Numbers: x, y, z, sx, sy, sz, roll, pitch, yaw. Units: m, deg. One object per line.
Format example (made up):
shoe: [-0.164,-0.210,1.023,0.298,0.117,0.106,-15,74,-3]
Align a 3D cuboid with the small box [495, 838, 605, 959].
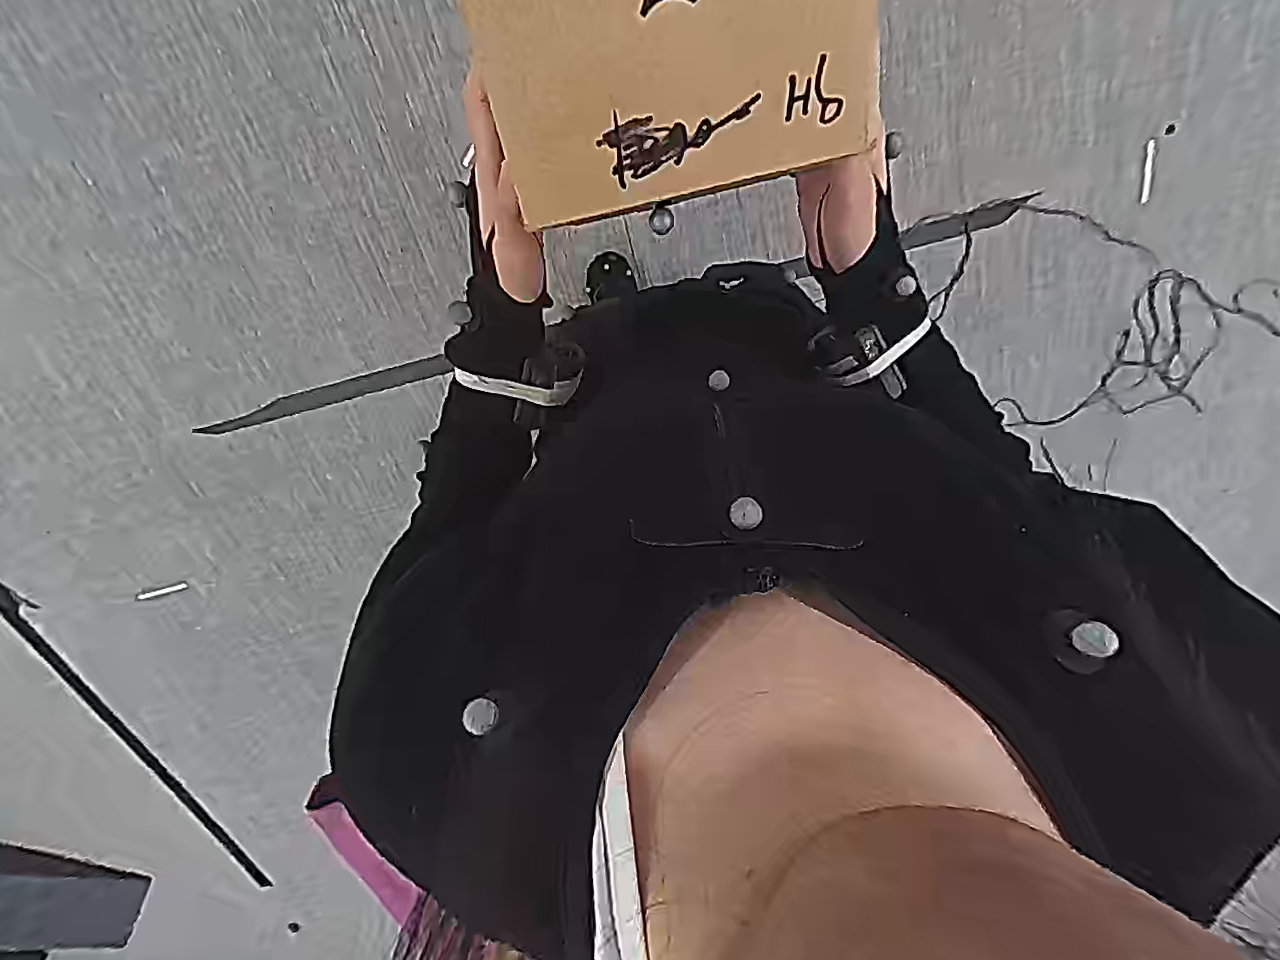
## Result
small box: [-0.158,0.819,1.018,0.168,0.176,0.179,-10,114,-1]

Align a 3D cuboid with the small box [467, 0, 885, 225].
small box: [0.010,-0.242,0.279,0.168,0.176,0.179,-10,115,6]
